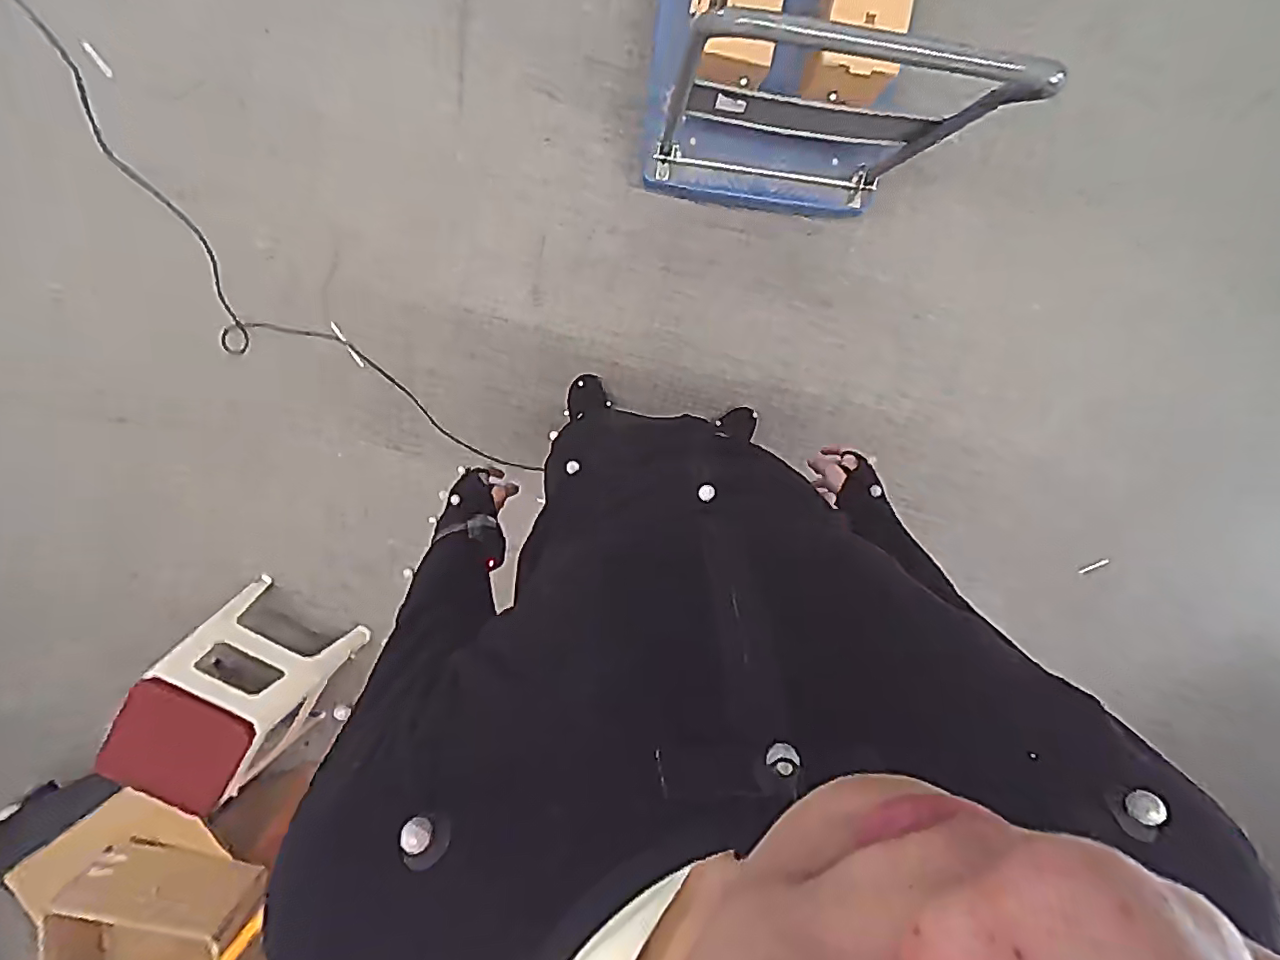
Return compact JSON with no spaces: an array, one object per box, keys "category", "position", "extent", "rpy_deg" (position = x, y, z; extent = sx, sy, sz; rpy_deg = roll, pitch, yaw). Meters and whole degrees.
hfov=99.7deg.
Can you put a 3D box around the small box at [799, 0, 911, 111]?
[{"category":"small box","position":[0.467,-0.962,1.197],"extent":[0.168,0.176,0.179],"rpy_deg":[7,103,-3]}]
